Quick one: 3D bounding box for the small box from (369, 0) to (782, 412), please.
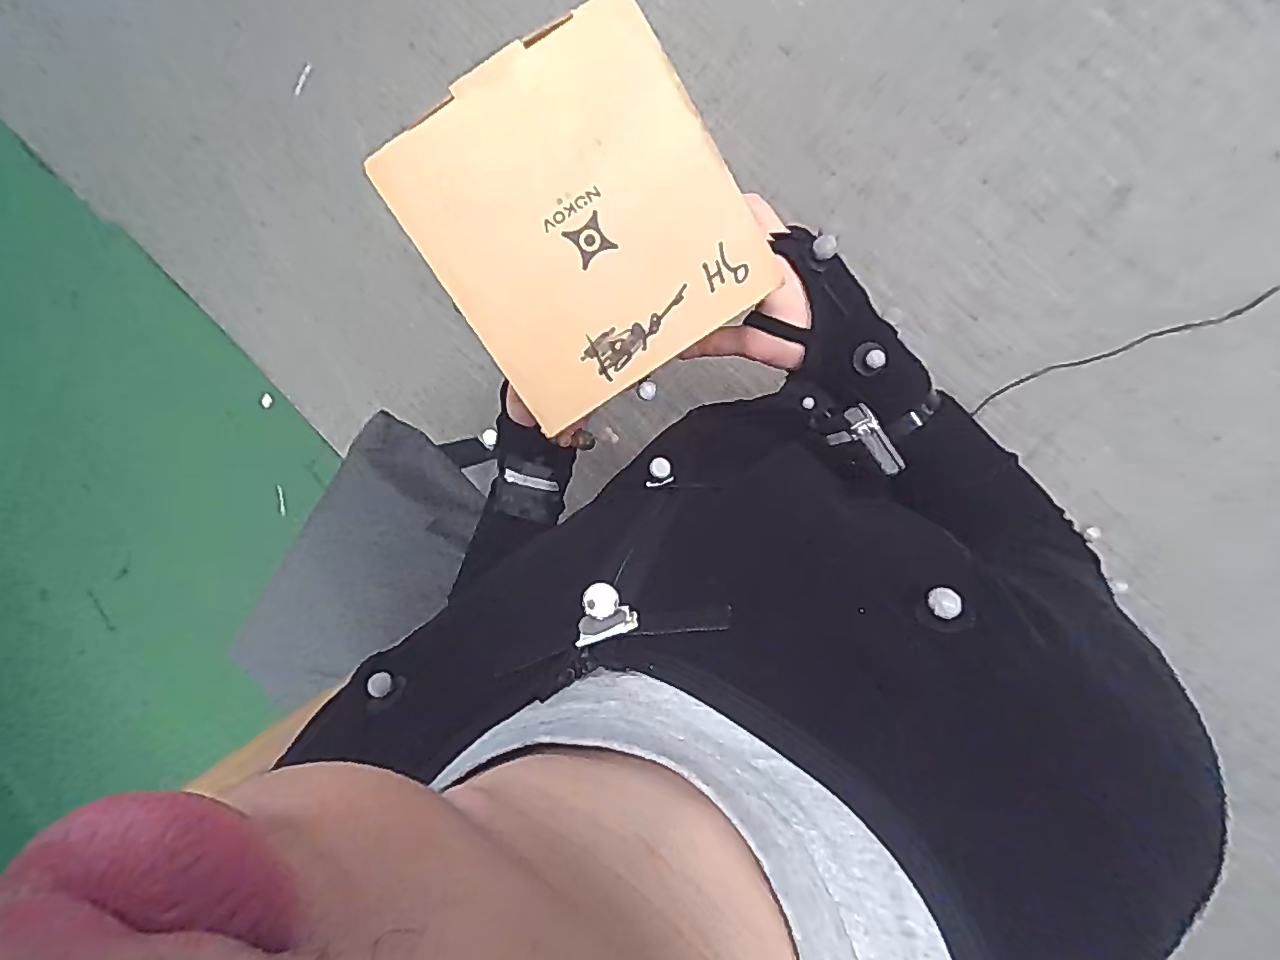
[{"bbox_3d":[-0.036,-0.164,0.372,0.168,0.176,0.179,-32,101,4],"label":"small box"}]
